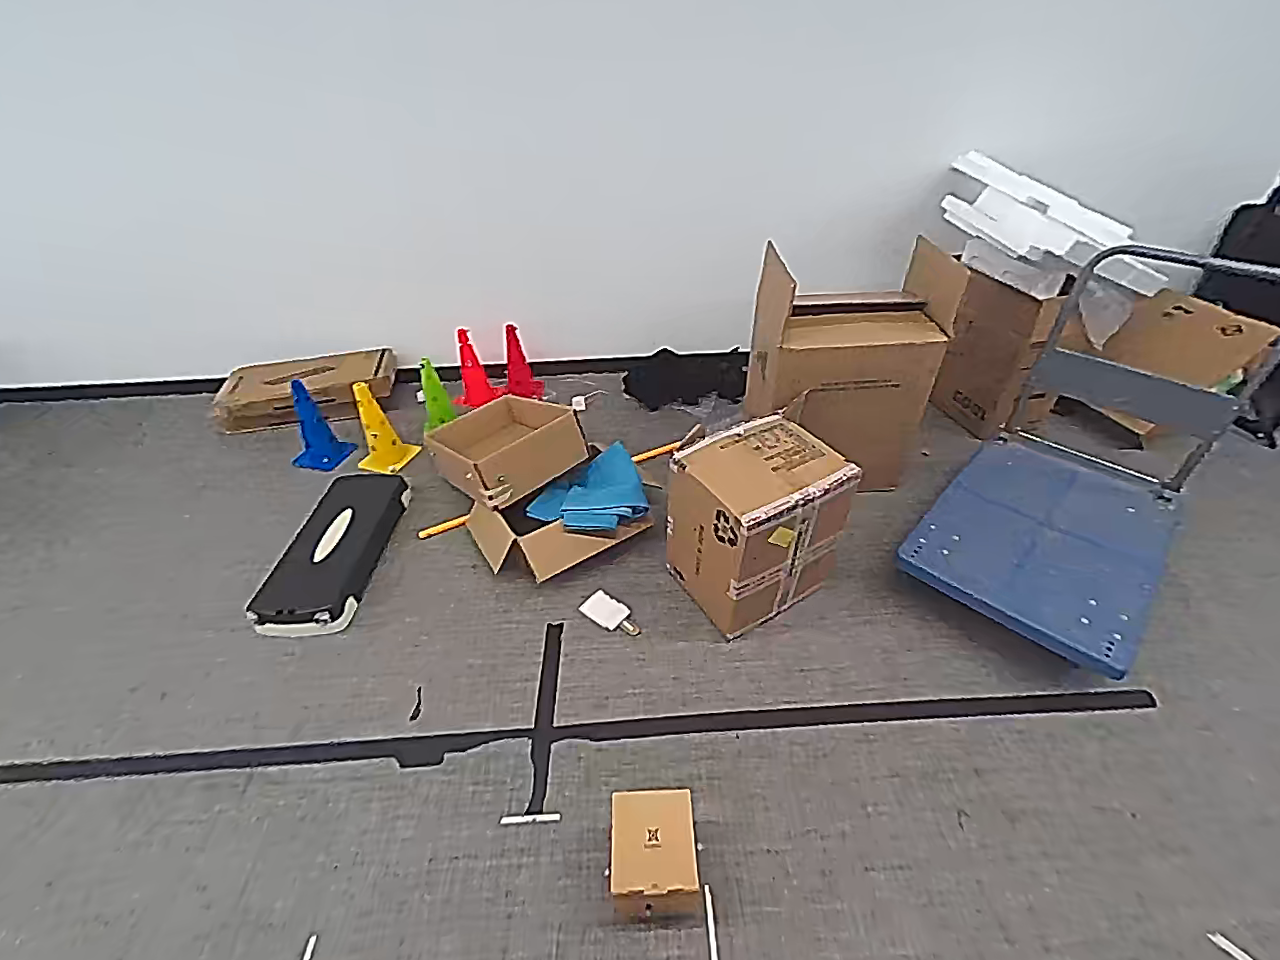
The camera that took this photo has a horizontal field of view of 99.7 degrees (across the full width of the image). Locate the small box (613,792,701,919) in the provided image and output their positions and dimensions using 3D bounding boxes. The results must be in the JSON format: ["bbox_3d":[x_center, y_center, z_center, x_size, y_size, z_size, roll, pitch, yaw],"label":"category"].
[{"bbox_3d":[0.029,0.766,1.106,0.168,0.176,0.179,-2,40,-1],"label":"small box"}]
